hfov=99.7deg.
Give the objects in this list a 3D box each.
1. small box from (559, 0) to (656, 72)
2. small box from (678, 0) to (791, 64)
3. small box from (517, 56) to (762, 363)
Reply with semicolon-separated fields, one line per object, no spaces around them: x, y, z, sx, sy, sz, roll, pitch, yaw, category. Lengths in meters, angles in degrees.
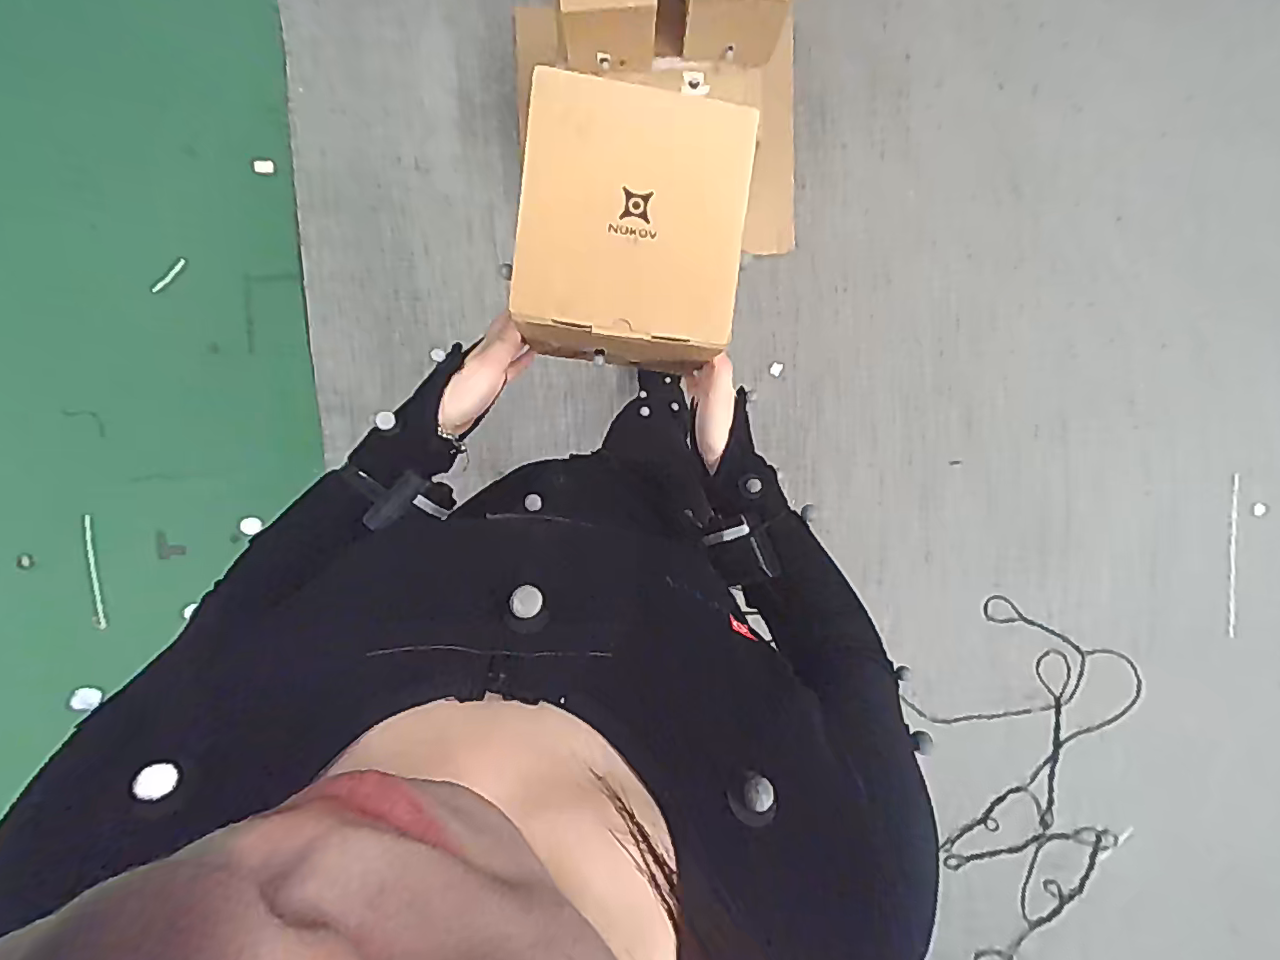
-0.064;-0.880;0.975;0.168;0.176;0.179;-6;96;-1;small box
0.168;-0.893;0.978;0.179;0.176;0.168;2;96;-1;small box
-0.009;-0.209;0.471;0.168;0.176;0.179;6;95;-7;small box
